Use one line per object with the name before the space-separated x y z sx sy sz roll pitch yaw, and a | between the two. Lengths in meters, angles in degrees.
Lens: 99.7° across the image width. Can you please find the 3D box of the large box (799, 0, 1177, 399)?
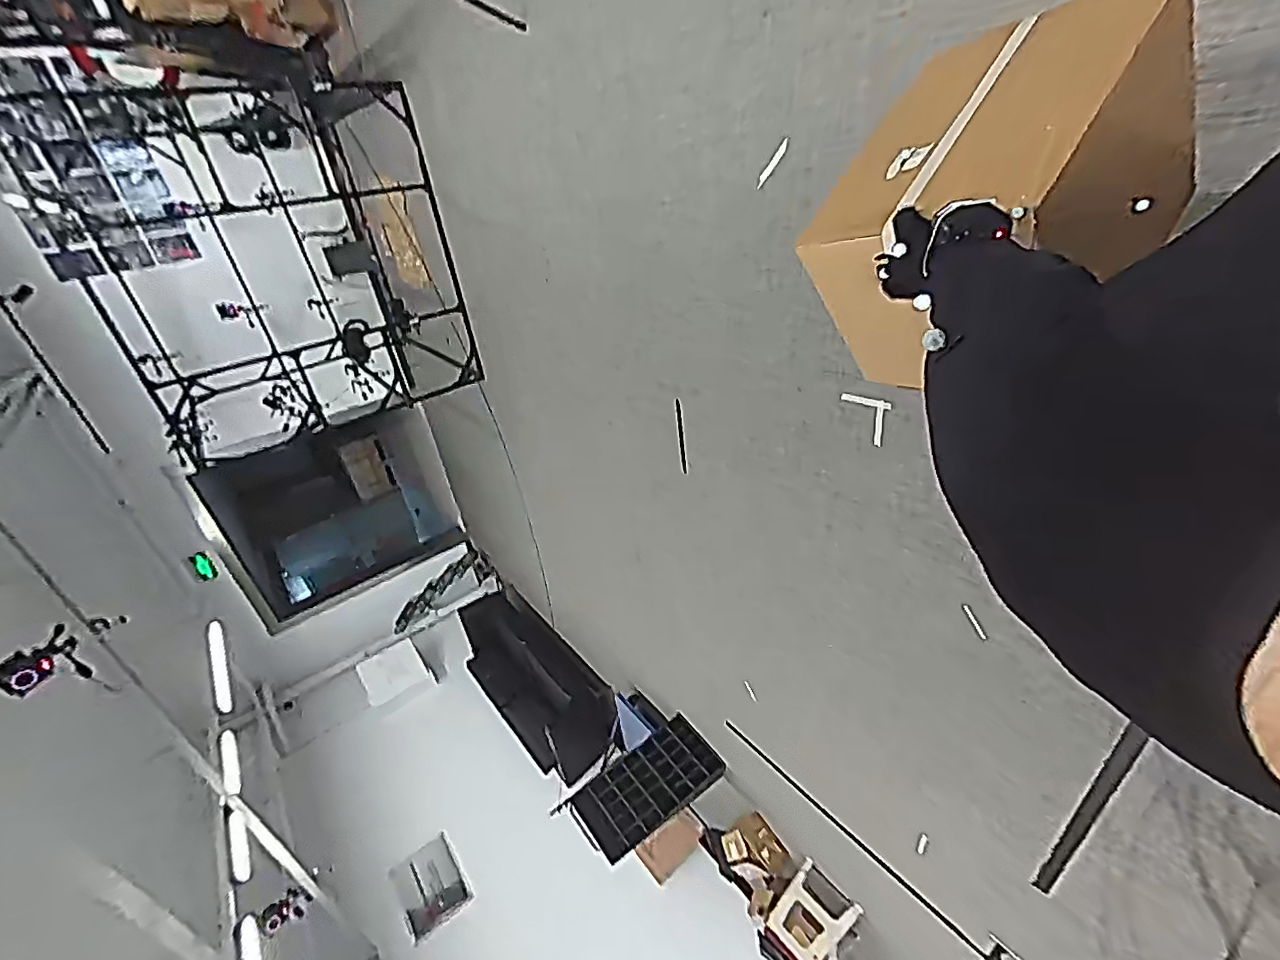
large box | 0.521 -0.385 0.807 0.320 0.408 0.320 40 170 -35
